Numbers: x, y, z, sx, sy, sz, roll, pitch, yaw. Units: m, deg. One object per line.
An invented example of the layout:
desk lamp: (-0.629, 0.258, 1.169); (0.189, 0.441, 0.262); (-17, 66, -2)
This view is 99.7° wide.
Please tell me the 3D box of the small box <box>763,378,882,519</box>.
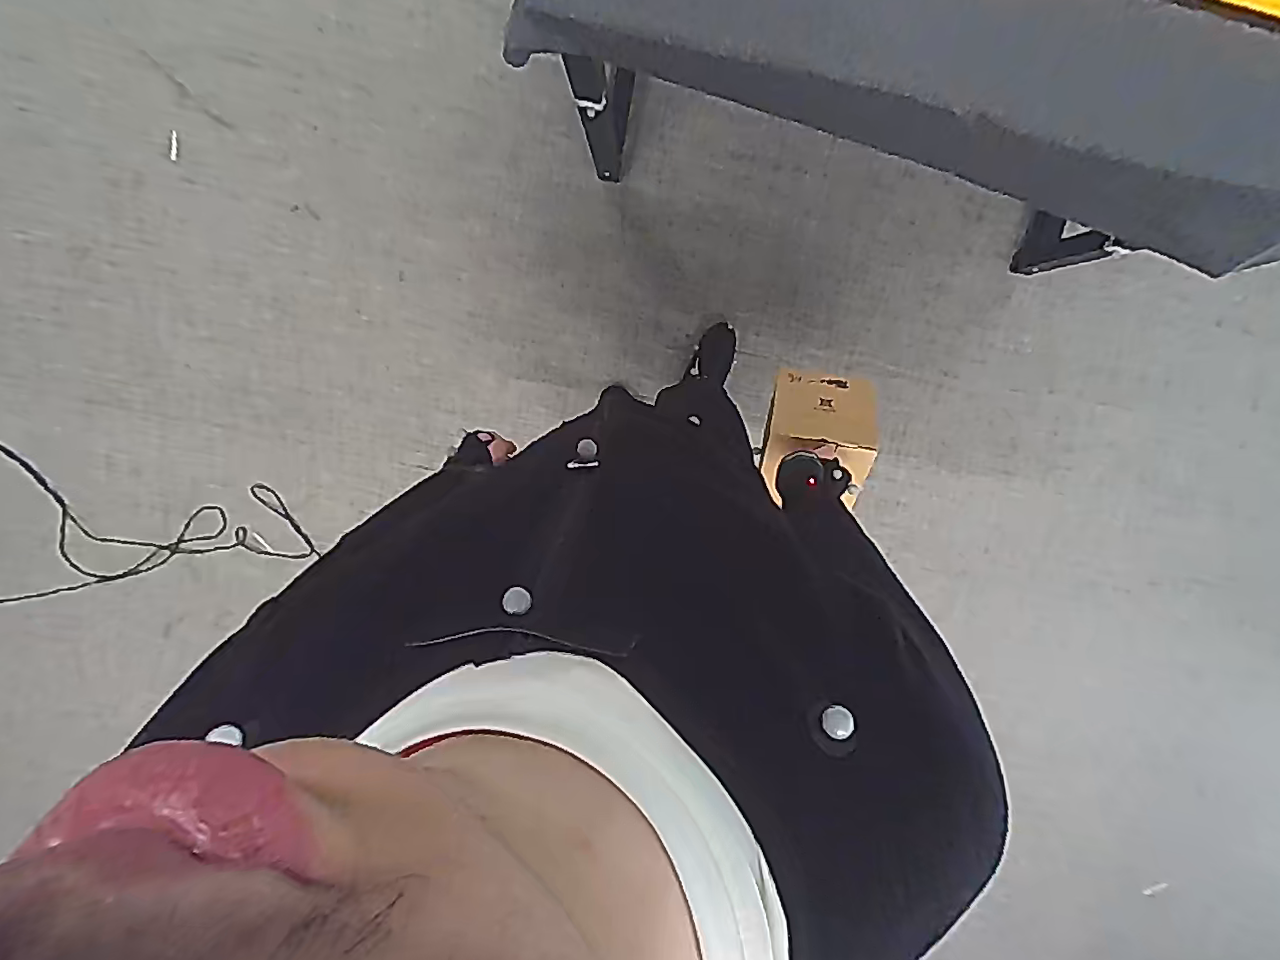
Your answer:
small box: (0.312, -0.053, 0.947); (0.168, 0.179, 0.176); (8, 138, 10)
